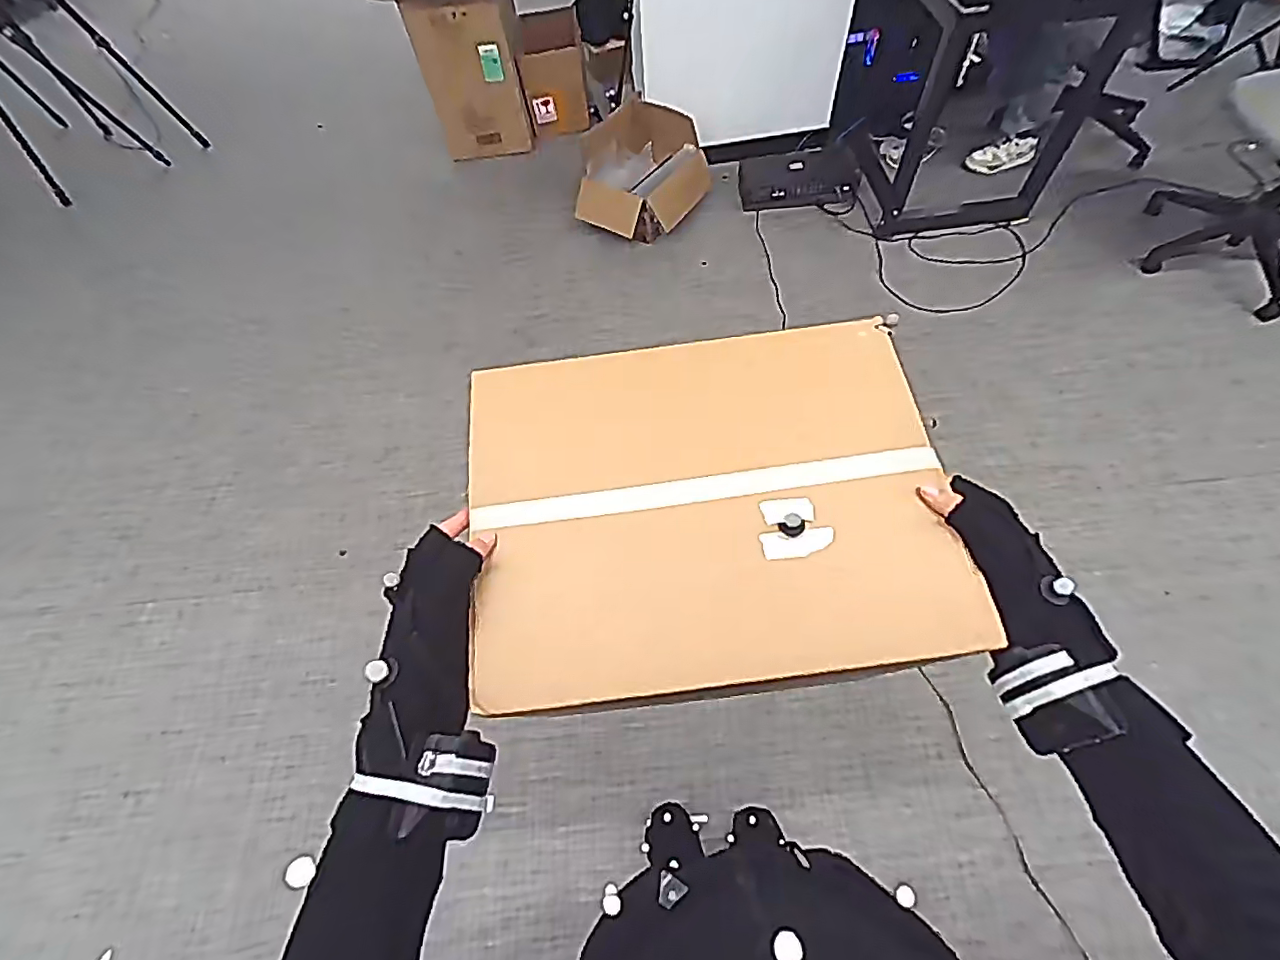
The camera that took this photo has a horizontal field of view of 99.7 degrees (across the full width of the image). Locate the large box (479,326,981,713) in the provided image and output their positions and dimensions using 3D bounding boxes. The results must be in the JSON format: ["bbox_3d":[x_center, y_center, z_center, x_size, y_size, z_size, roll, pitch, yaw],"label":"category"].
[{"bbox_3d":[0.060,0.071,0.616,0.408,0.320,0.320,-8,66,0],"label":"large box"}]
